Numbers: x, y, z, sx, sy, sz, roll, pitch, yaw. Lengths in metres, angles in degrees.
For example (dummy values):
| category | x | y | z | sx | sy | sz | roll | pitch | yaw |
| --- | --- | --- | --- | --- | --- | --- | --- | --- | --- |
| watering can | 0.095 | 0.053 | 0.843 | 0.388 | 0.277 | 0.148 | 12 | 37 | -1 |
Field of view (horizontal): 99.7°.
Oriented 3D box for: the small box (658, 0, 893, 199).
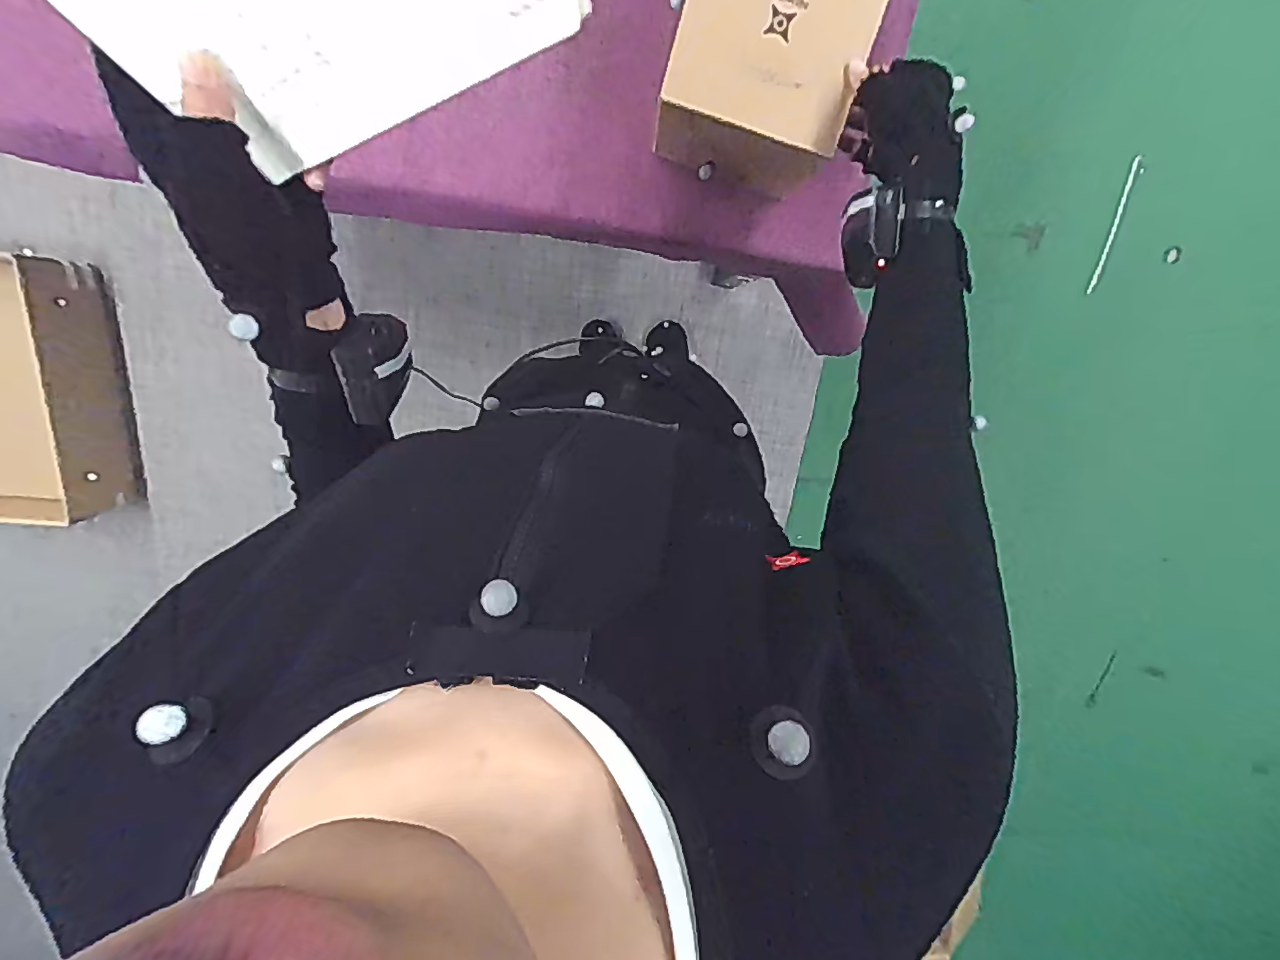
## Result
| category | x | y | z | sx | sy | sz | roll | pitch | yaw |
| --- | --- | --- | --- | --- | --- | --- | --- | --- | --- |
| small box | 0.119 | -0.407 | 0.532 | 0.168 | 0.176 | 0.179 | 17 | 106 | -6 |
